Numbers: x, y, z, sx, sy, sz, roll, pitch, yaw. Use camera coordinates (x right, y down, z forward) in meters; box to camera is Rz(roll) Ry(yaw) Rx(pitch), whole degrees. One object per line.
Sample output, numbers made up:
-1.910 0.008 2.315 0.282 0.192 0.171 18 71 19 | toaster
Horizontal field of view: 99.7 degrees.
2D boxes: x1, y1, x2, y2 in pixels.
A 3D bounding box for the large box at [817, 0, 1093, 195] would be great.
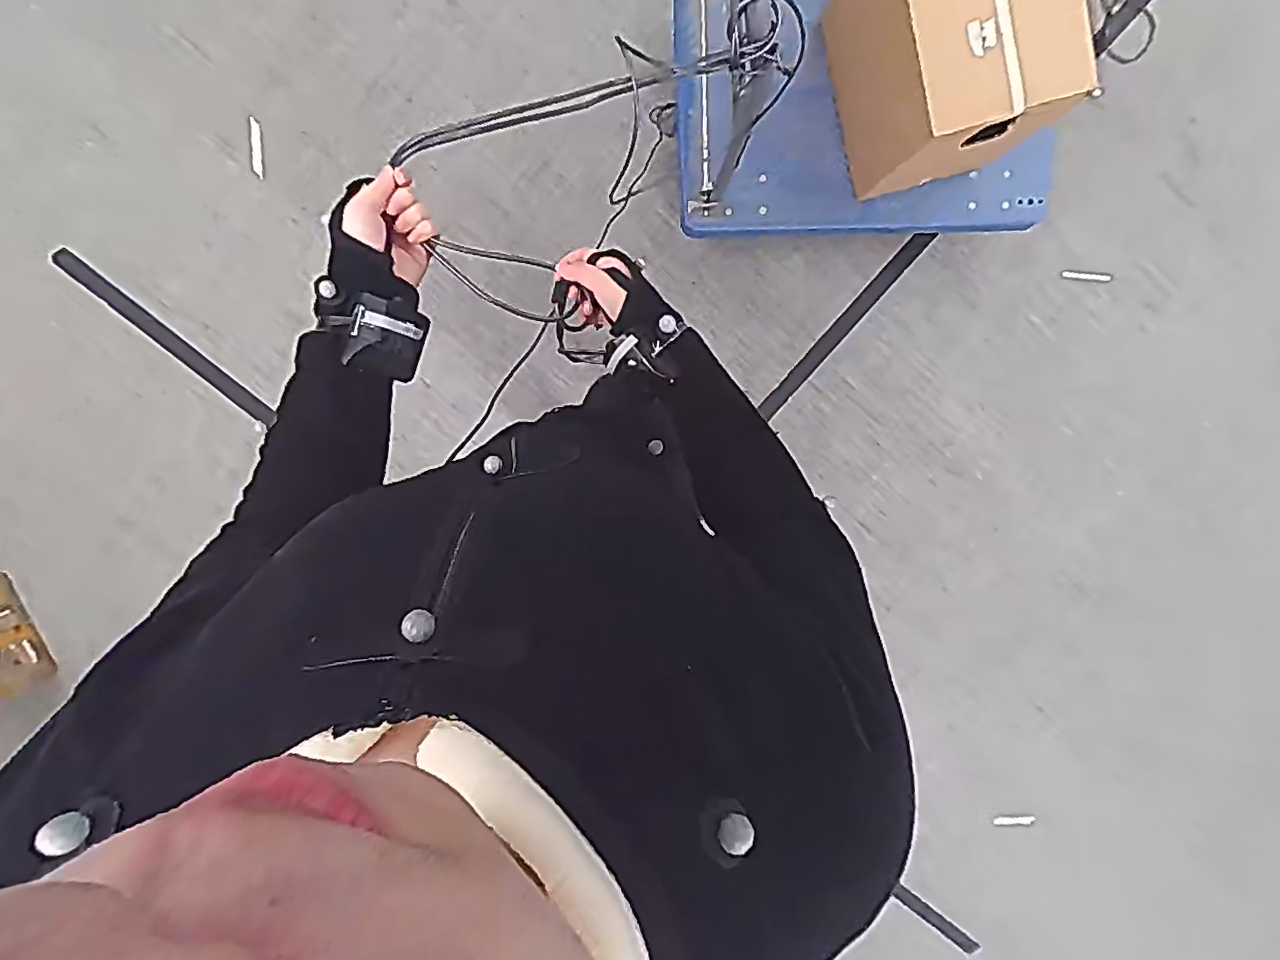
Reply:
0.596 -0.864 1.075 0.320 0.320 0.408 -17 99 0 | large box
